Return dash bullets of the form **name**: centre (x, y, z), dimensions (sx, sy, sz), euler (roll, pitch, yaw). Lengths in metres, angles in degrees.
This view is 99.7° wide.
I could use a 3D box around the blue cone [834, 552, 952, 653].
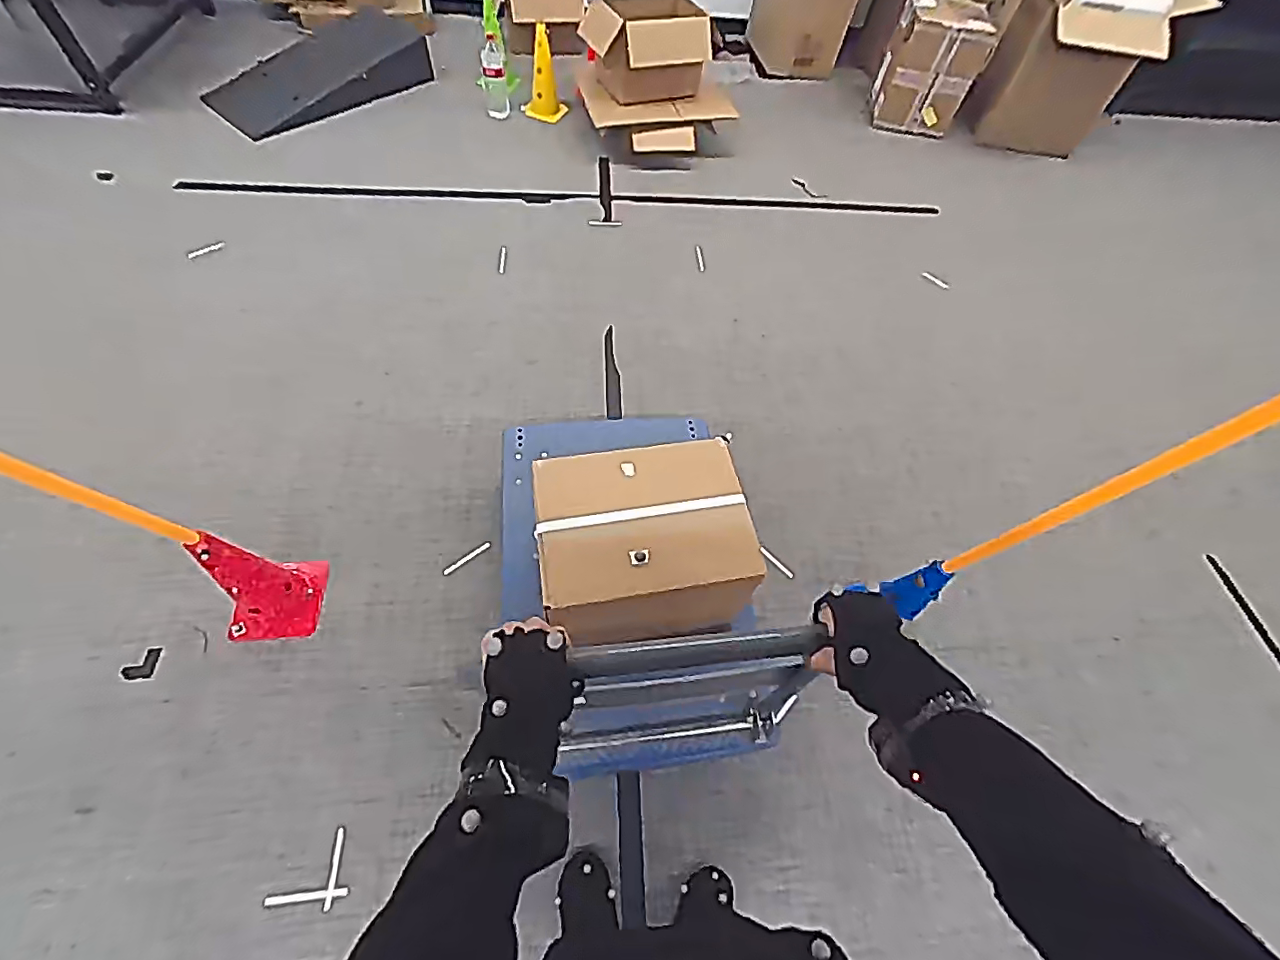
- **blue cone**: centre (0.652, 0.281, 1.329), dimensions (0.193, 0.380, 0.192), euler (-4, 58, -9)
